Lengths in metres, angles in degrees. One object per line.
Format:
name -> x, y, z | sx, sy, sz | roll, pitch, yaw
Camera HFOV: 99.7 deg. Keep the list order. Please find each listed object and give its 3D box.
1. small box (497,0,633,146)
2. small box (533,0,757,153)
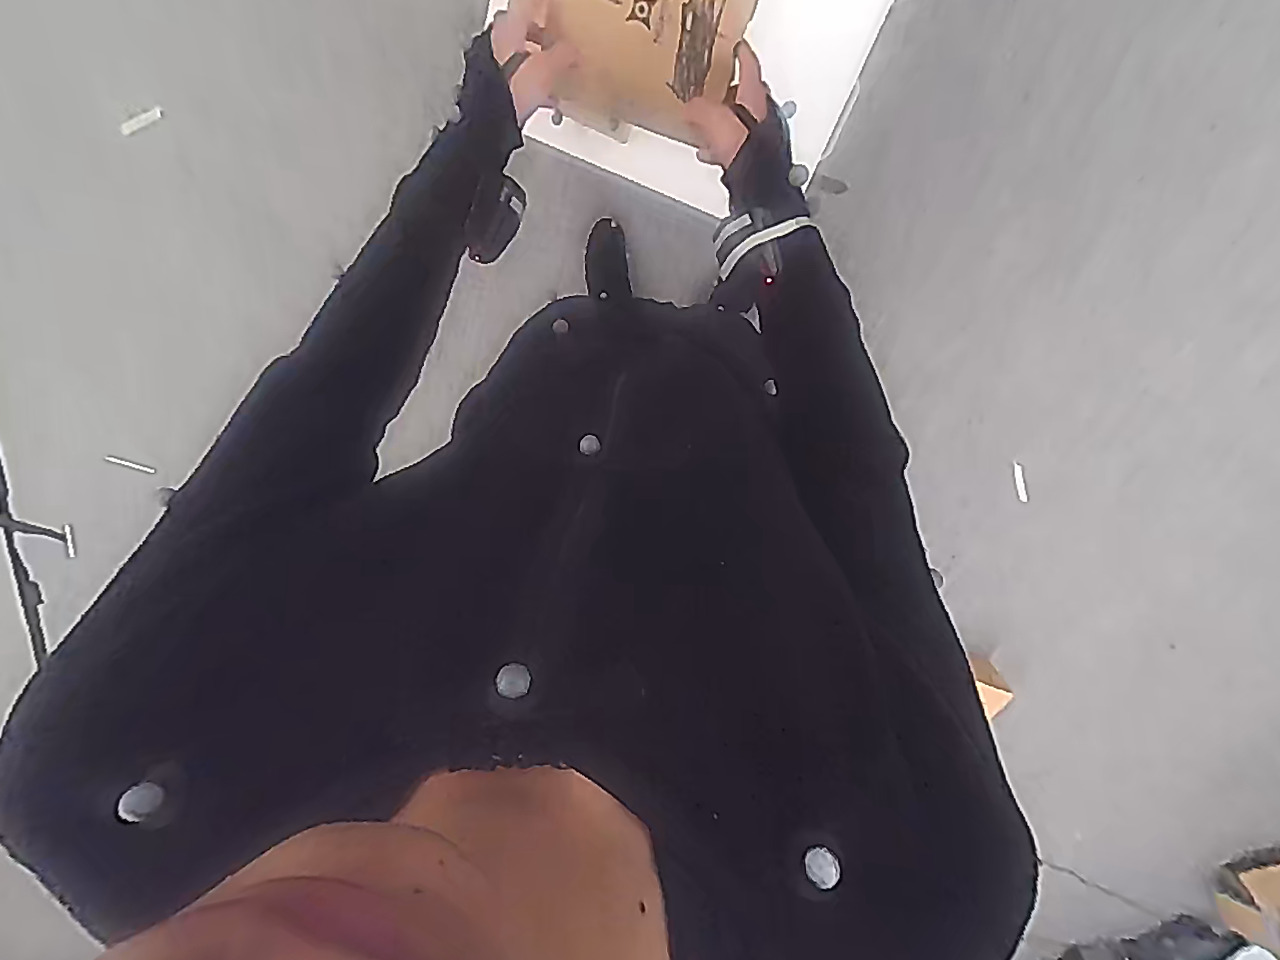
small box -> -0.065, -0.563, 0.694 | 0.168, 0.176, 0.179 | 20, 115, -8
small box -> 0.004, -0.450, 0.534 | 0.179, 0.176, 0.168 | 12, 125, -11
